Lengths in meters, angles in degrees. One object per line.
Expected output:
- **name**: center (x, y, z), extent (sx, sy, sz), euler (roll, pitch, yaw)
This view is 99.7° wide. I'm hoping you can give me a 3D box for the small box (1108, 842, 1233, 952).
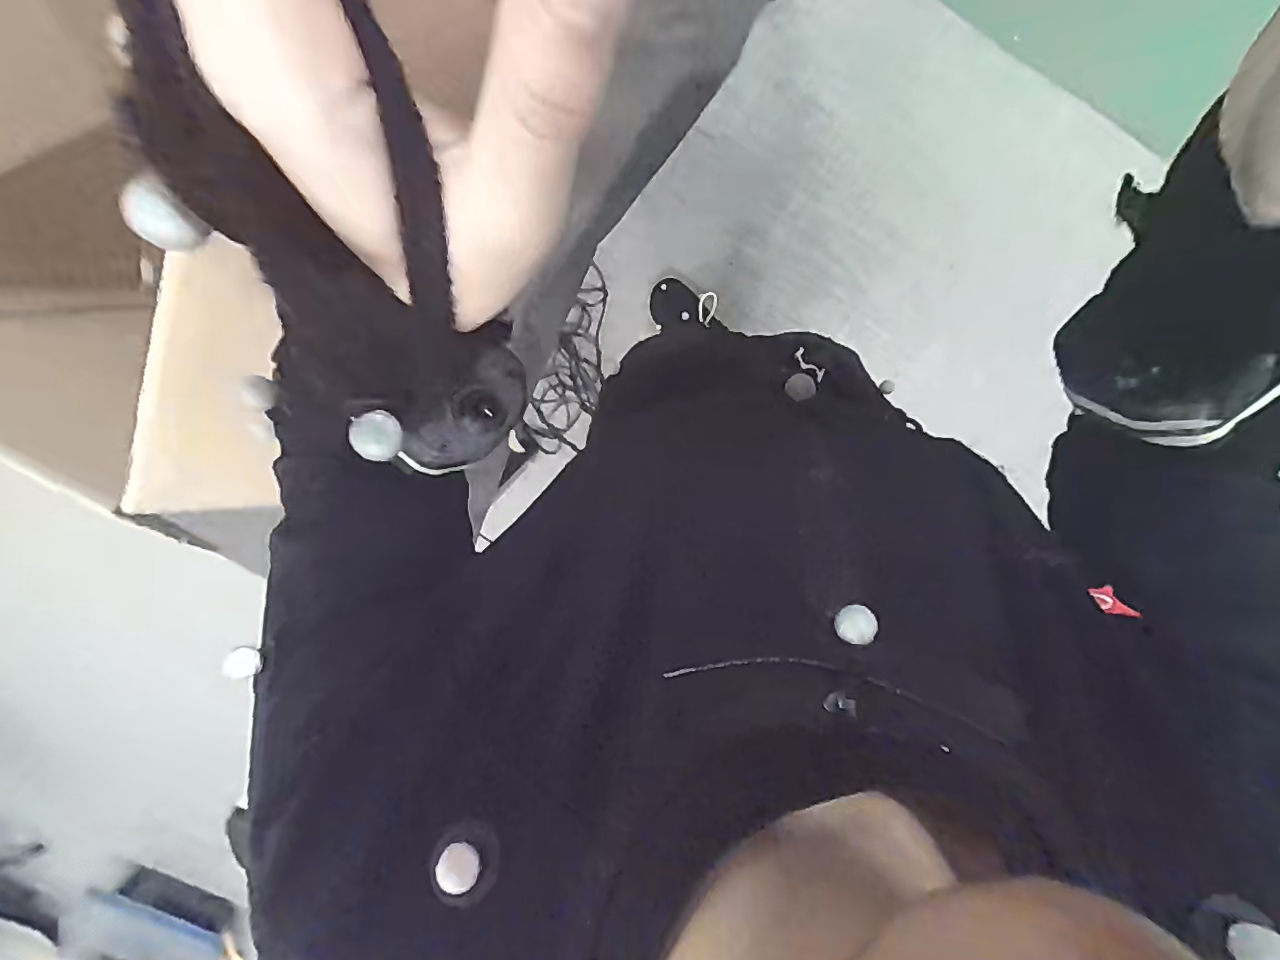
- **small box**: center (1.541, 1.223, 1.592), extent (0.168, 0.176, 0.179), euler (32, 111, -5)
